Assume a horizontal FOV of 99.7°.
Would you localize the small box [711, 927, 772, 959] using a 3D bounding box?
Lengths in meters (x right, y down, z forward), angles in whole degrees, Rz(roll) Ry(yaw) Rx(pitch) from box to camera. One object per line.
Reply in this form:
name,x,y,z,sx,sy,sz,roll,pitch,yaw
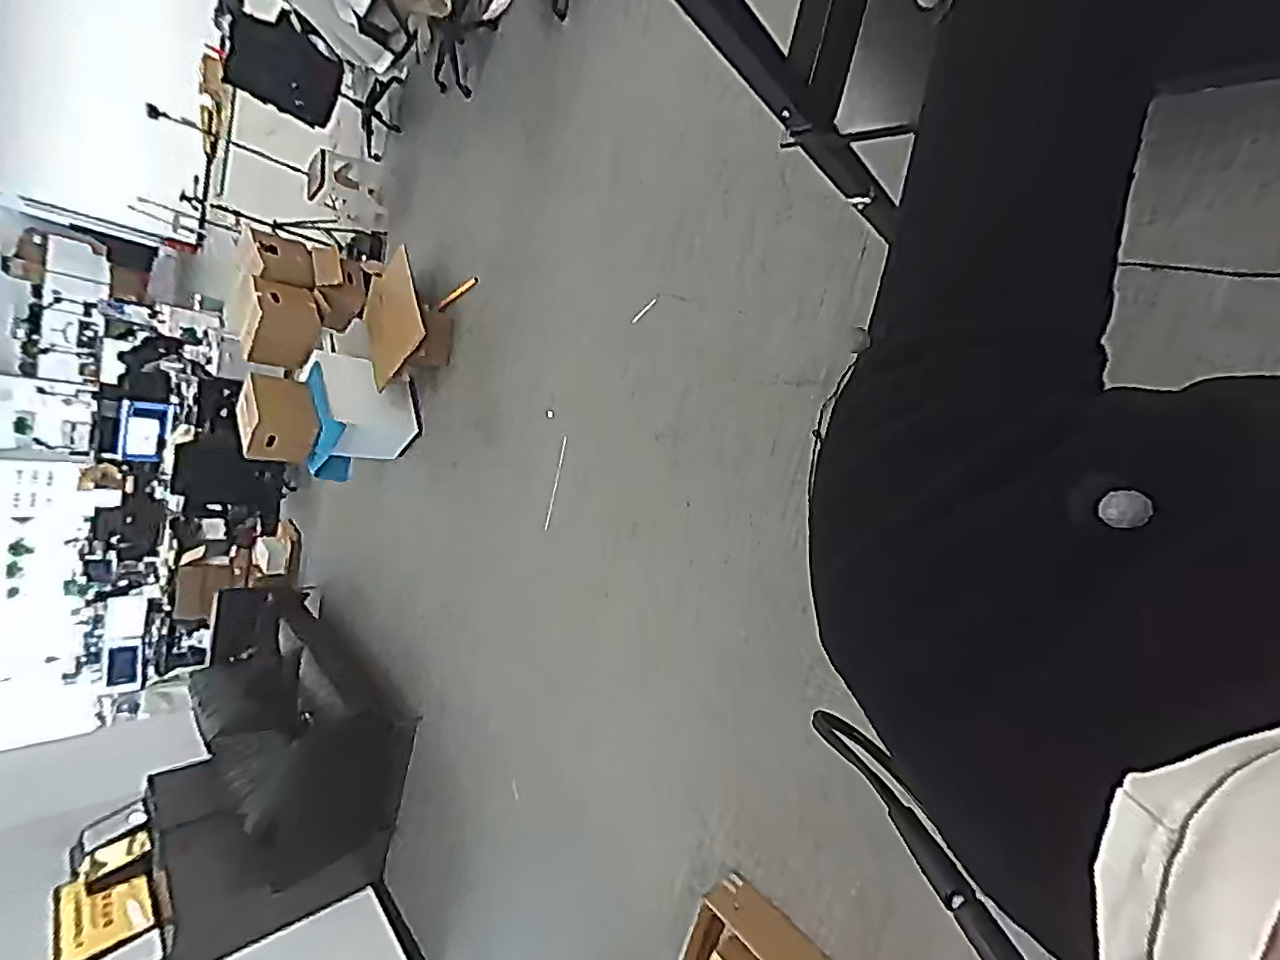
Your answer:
small box,0.309,1.556,1.677,0.168,0.176,0.179,26,104,40
